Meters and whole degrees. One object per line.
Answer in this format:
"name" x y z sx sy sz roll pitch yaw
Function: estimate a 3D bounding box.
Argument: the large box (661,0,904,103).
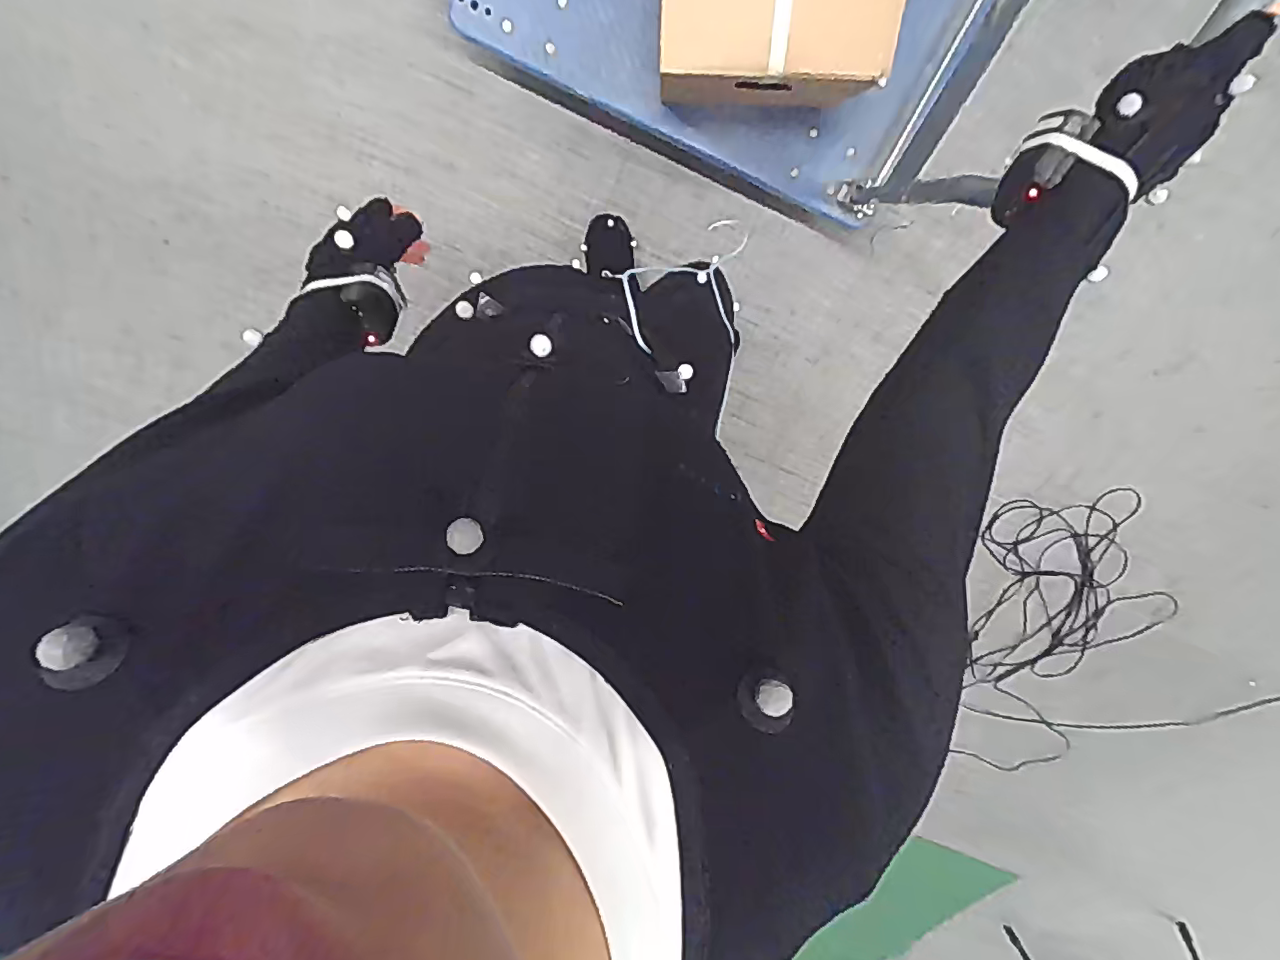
"large box" 0.193 -0.796 0.764 0.320 0.320 0.408 3 120 1
